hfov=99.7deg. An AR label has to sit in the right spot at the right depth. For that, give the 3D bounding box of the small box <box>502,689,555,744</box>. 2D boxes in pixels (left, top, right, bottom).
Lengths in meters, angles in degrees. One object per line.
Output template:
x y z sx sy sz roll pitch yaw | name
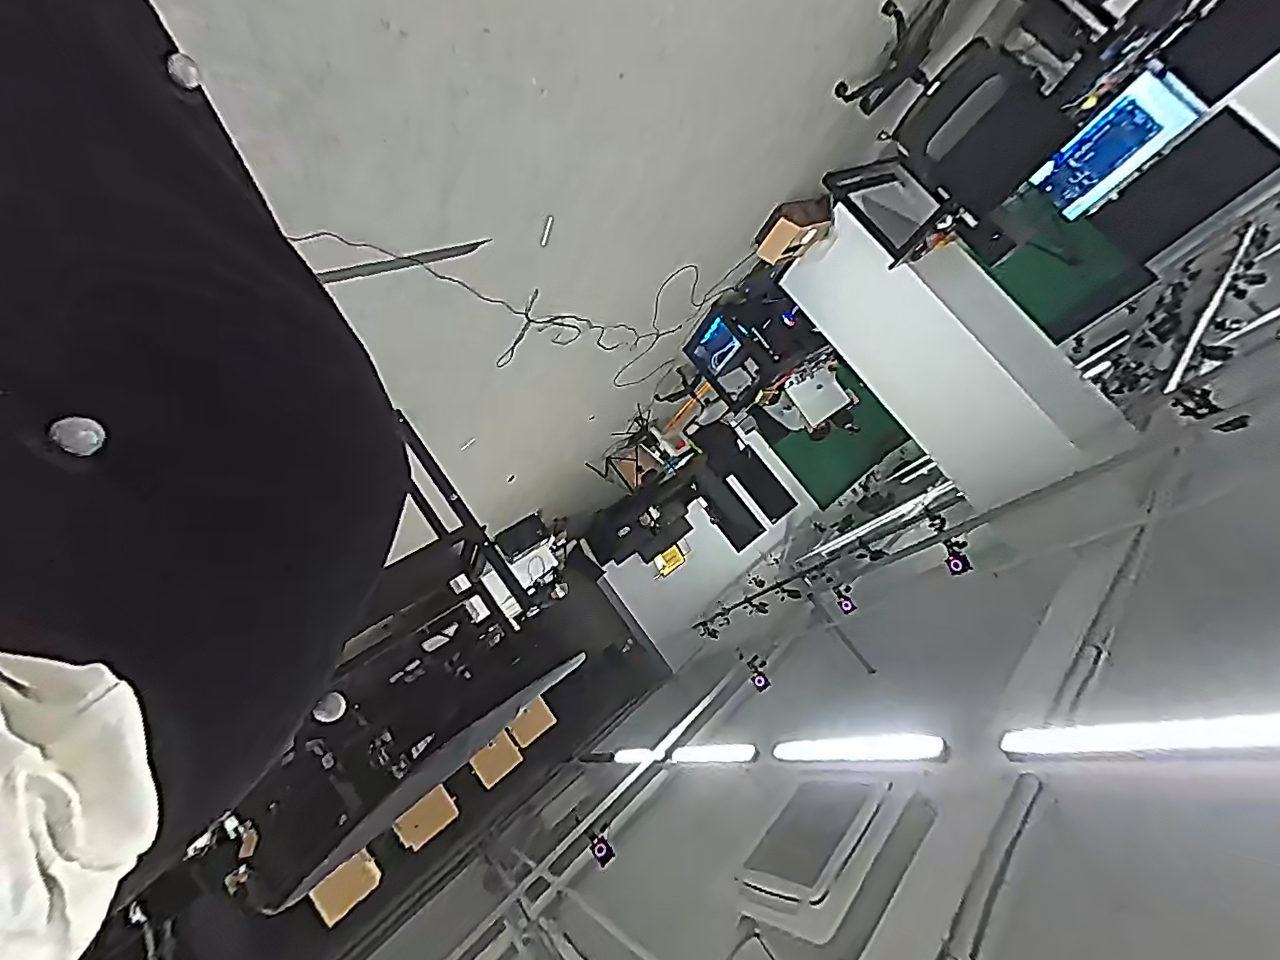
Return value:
-0.539 1.127 2.579 0.179 0.176 0.168 -31 169 -31 | small box

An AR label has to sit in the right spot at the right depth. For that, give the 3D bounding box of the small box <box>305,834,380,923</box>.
-1.031 1.375 1.879 0.168 0.176 0.179 -33 172 -31 | small box

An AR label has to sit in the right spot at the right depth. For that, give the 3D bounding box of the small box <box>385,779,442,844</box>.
-0.954 1.386 2.272 0.168 0.176 0.179 -32 170 -32 | small box

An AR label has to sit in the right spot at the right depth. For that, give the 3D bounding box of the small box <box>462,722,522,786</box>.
-0.610 1.111 2.209 0.168 0.176 0.179 -34 172 -29 | small box
